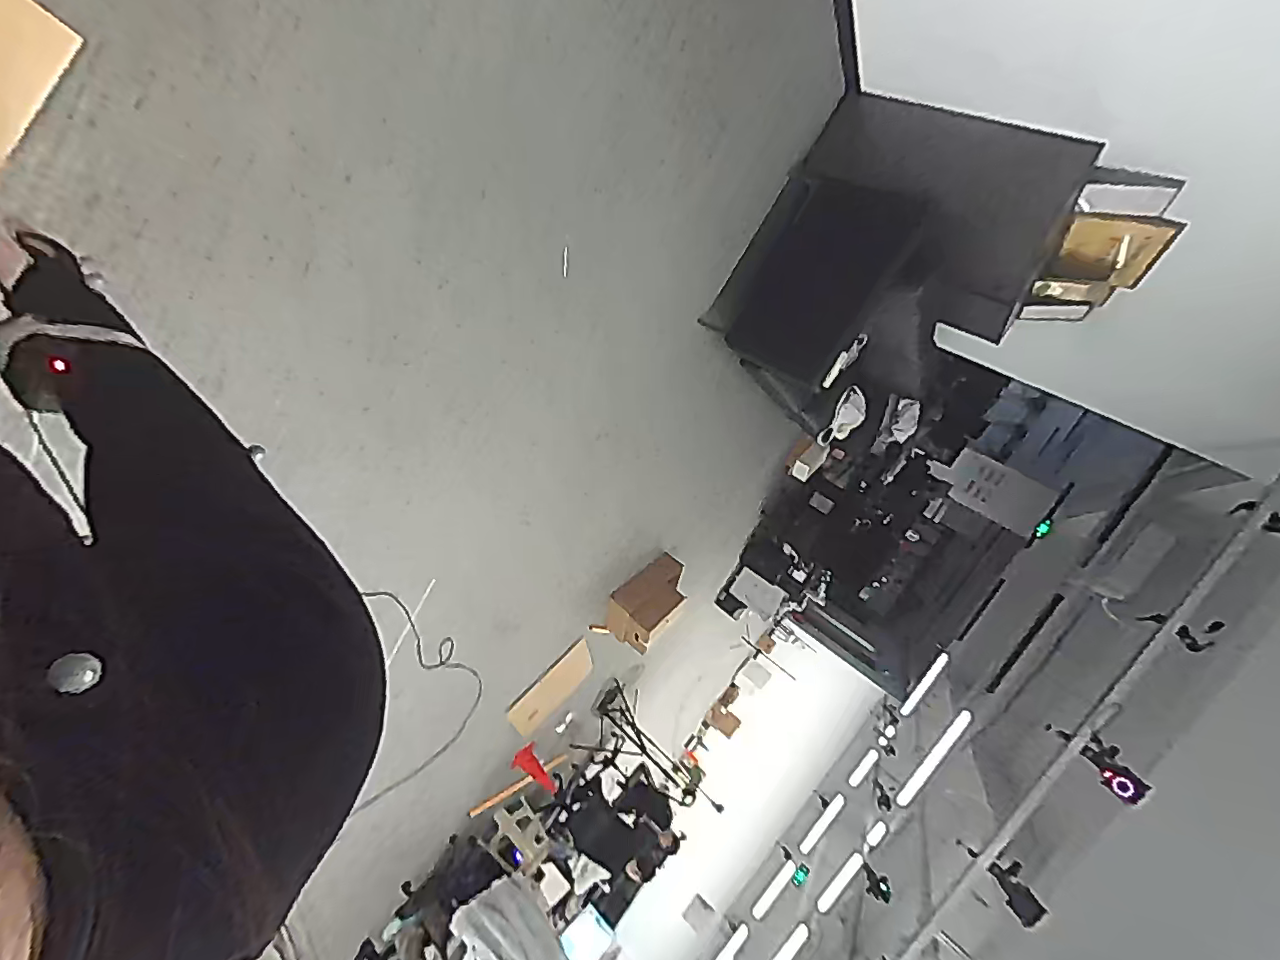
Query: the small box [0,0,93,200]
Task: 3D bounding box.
[{"bbox_3d":[-0.593,-0.354,0.410,0.168,0.176,0.179,-57,155,1],"label":"small box"}]
